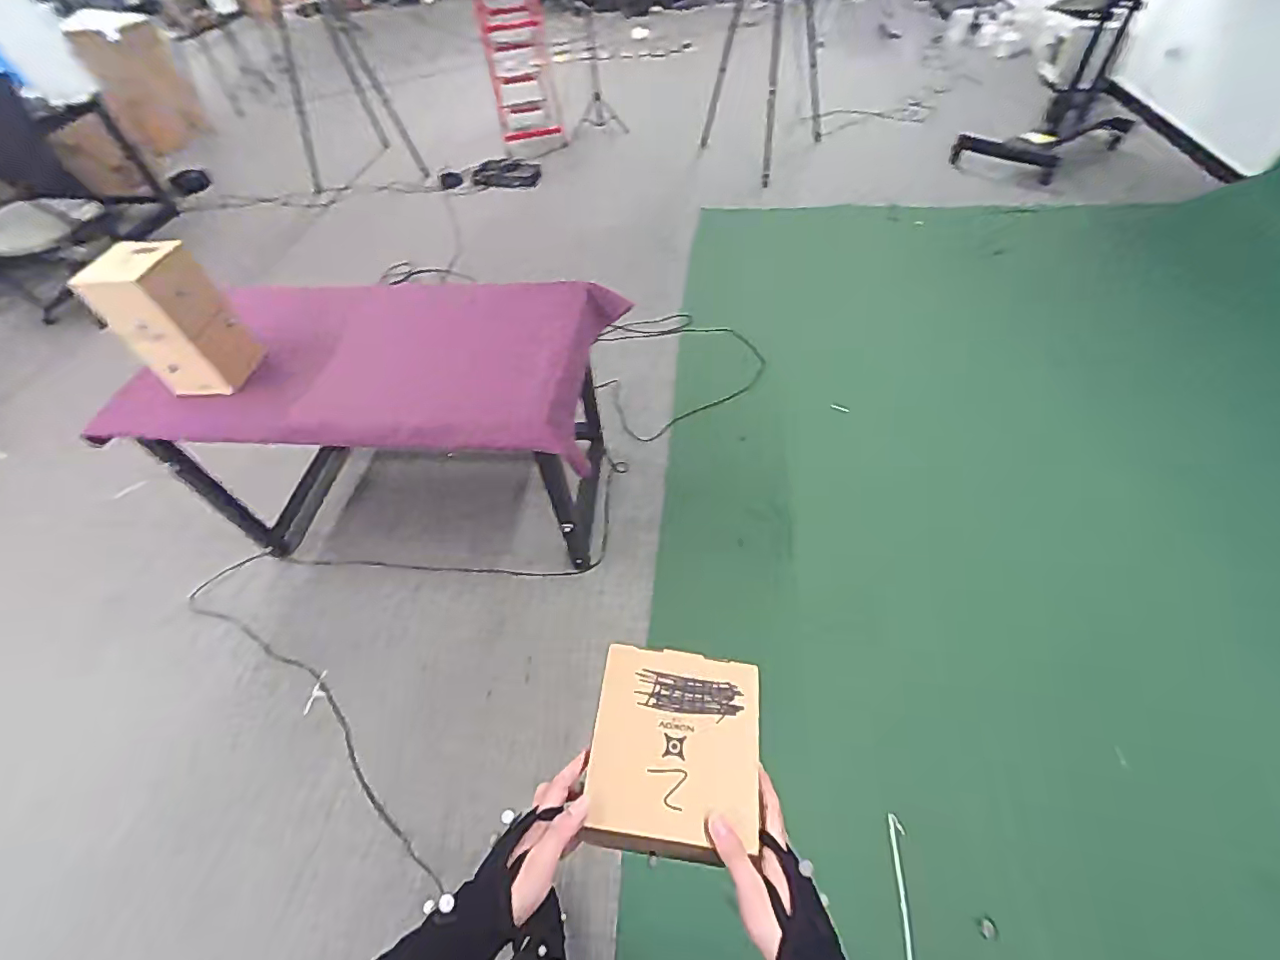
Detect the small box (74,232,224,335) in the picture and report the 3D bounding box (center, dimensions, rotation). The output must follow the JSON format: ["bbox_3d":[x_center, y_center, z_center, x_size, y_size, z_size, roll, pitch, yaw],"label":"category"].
[{"bbox_3d":[-1.148,-0.467,1.288,0.168,0.176,0.179,1,53,7],"label":"small box"}]

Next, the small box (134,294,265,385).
[{"bbox_3d":[-1.137,-0.363,1.415,0.168,0.176,0.179,1,51,6],"label":"small box"}]
